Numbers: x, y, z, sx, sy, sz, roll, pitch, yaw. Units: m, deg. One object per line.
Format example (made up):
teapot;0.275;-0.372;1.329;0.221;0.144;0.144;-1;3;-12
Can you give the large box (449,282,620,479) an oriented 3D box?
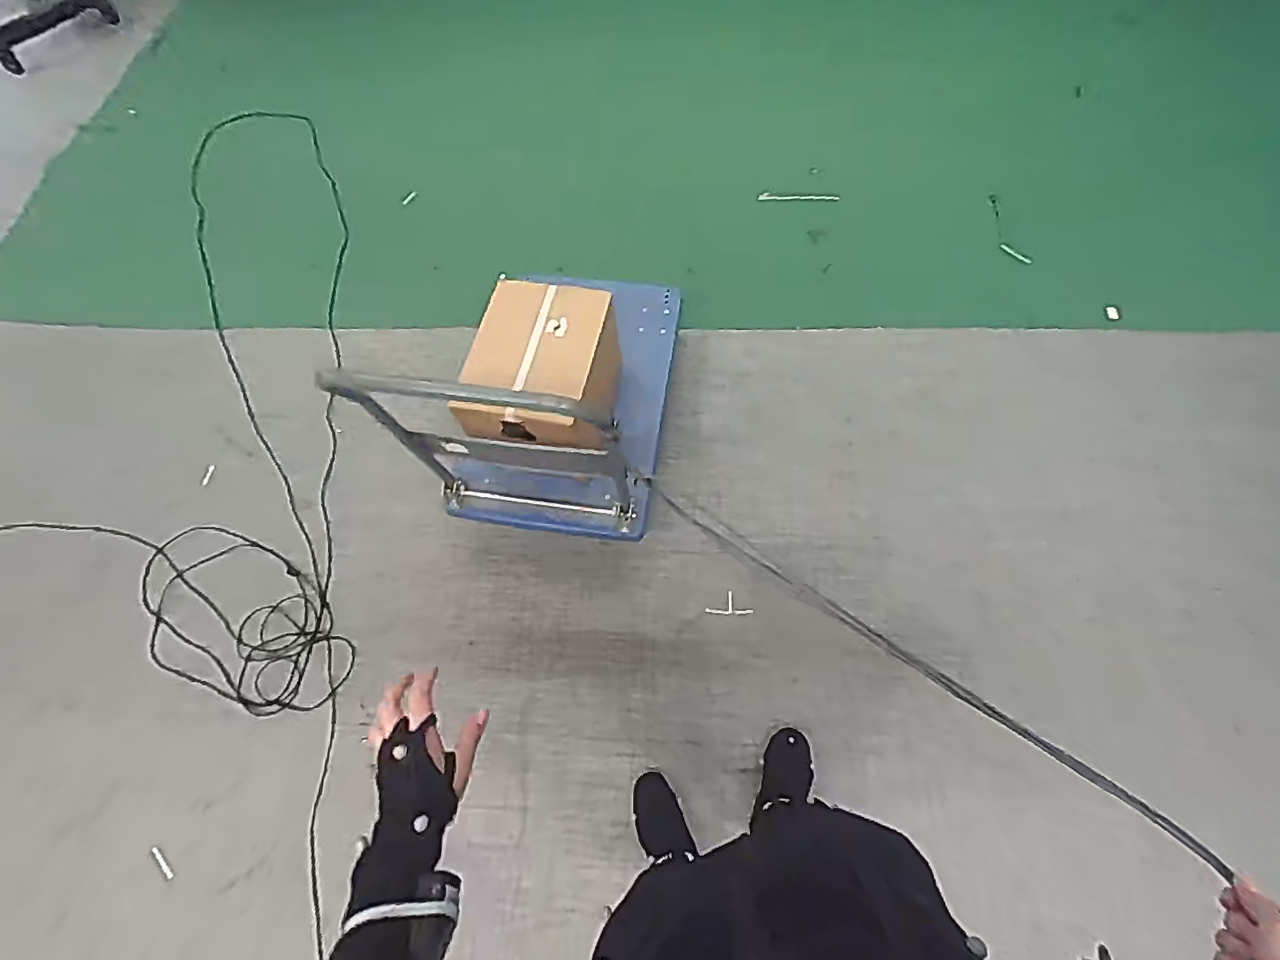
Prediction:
large box;-0.254;-0.258;1.454;0.320;0.320;0.408;10;66;7
